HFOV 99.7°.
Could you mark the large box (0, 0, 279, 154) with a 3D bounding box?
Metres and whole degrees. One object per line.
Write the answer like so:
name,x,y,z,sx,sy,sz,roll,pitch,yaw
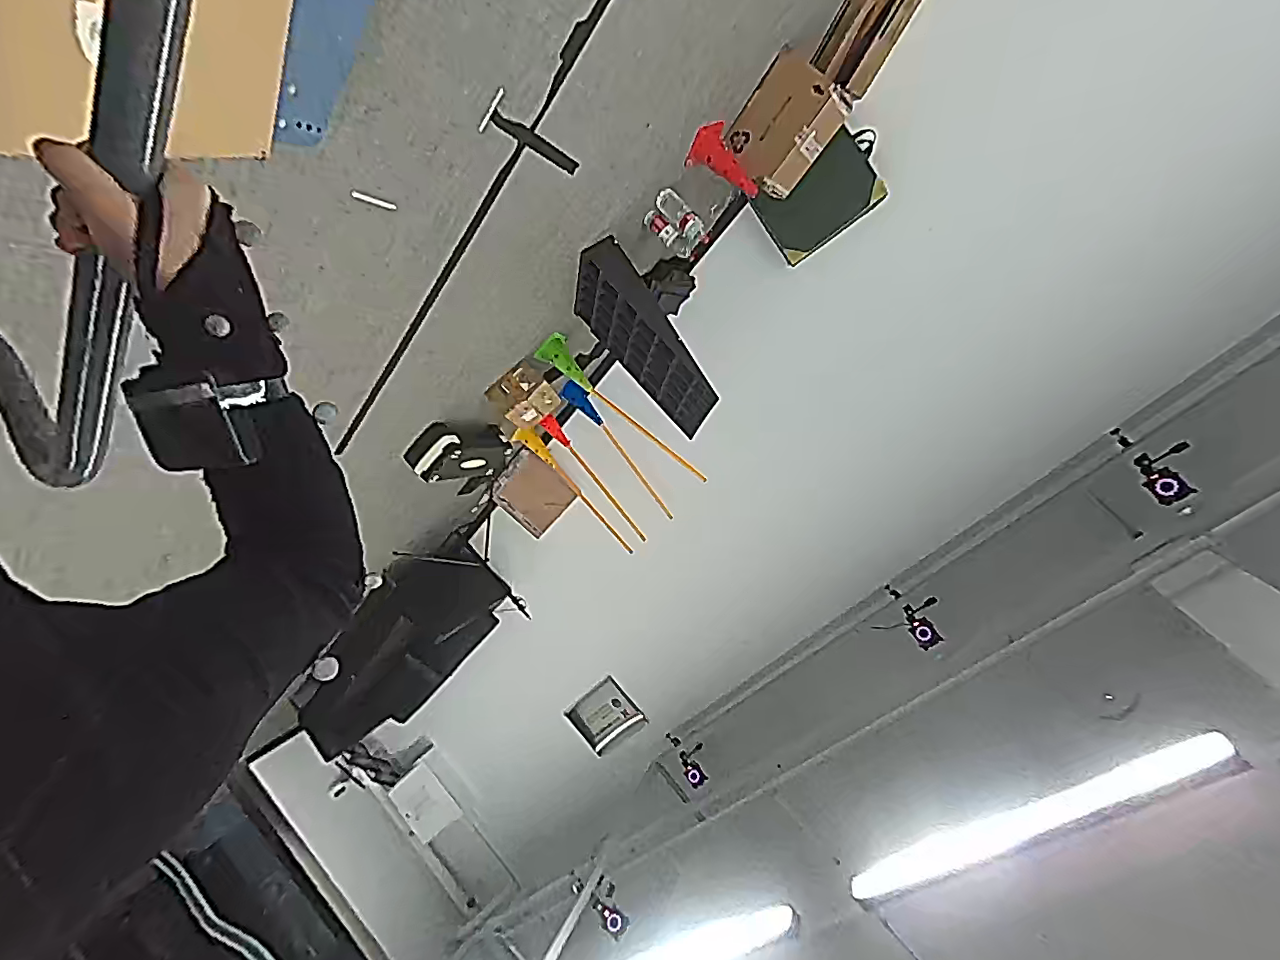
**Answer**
large box,-0.606,-0.615,0.529,0.408,0.320,0.320,-45,-178,37
